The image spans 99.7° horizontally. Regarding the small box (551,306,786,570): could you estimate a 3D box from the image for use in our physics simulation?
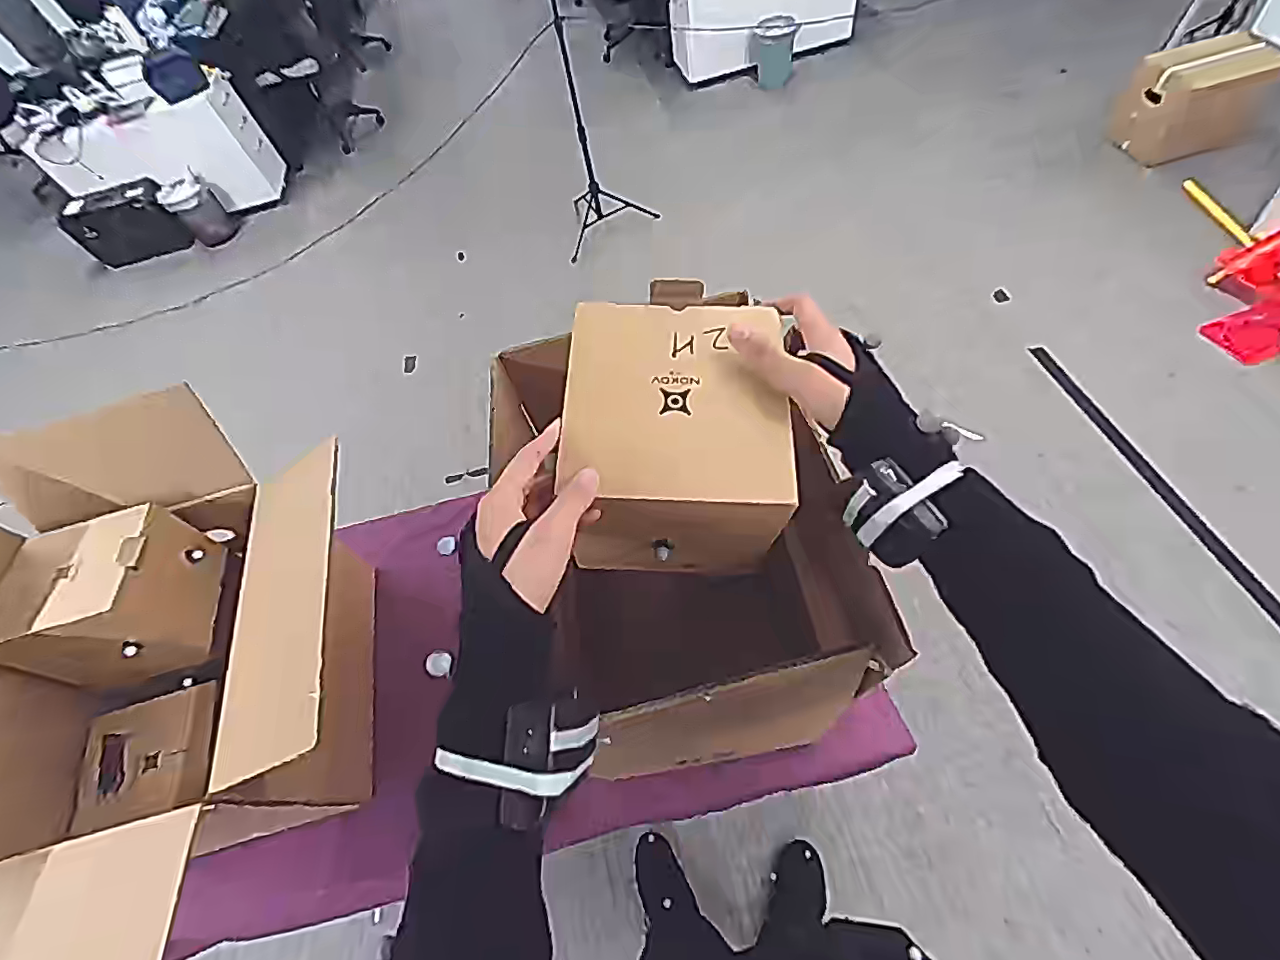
[{"bbox_3d":[0.025,-0.027,0.478,0.168,0.176,0.179,3,64,1],"label":"small box"}]
